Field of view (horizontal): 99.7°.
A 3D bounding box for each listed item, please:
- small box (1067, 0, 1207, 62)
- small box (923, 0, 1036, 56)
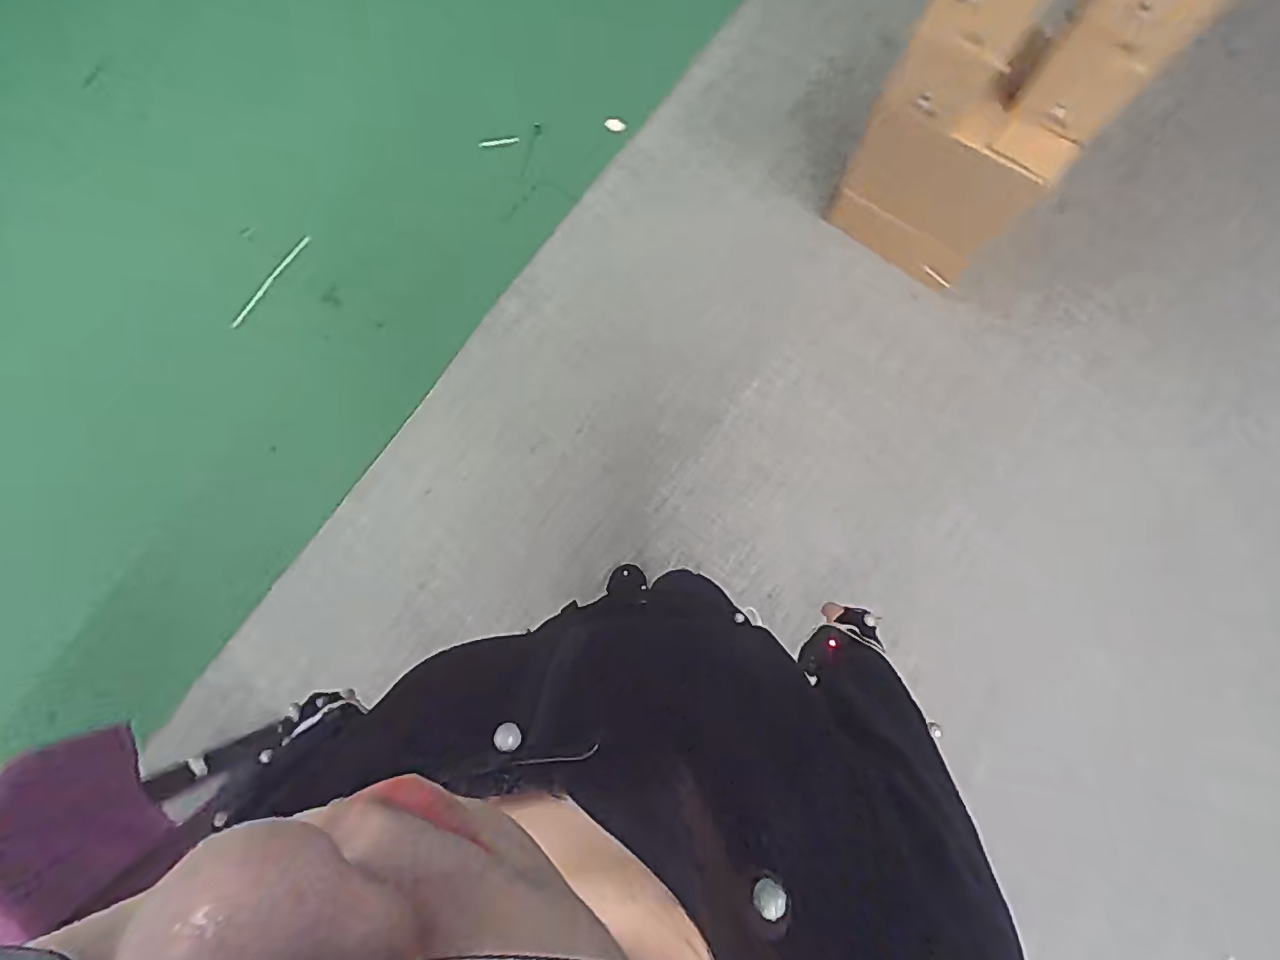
[{"bbox_3d":[0.859,-0.848,0.887,0.168,0.176,0.179,30,85,8],"label":"small box"},{"bbox_3d":[0.613,-0.877,0.909,0.168,0.176,0.179,33,88,6],"label":"small box"}]
